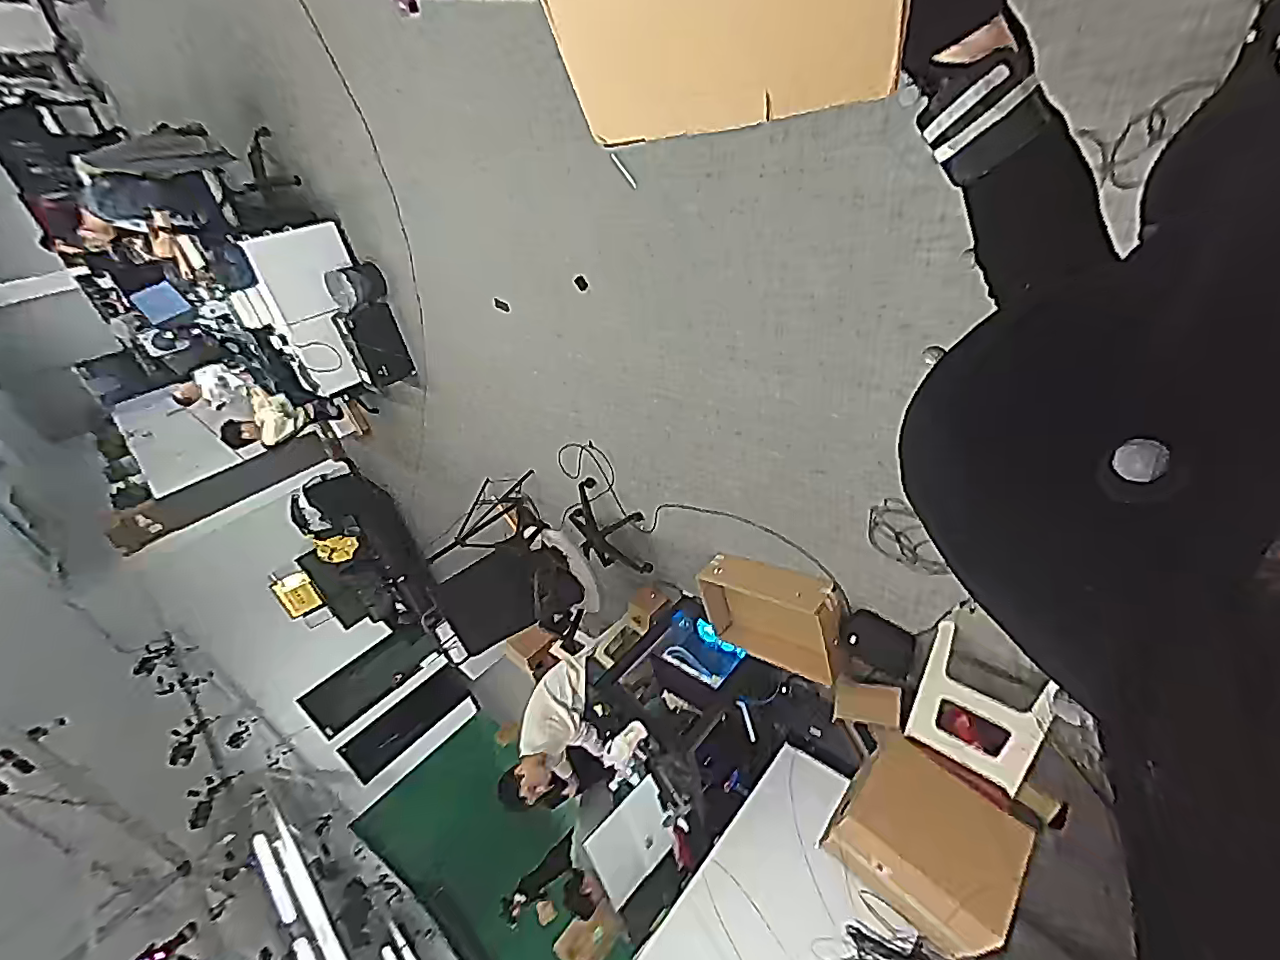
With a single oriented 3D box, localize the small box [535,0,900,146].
[{"bbox_3d":[0.034,-0.298,0.245,0.168,0.179,0.176,7,156,24],"label":"small box"}]
